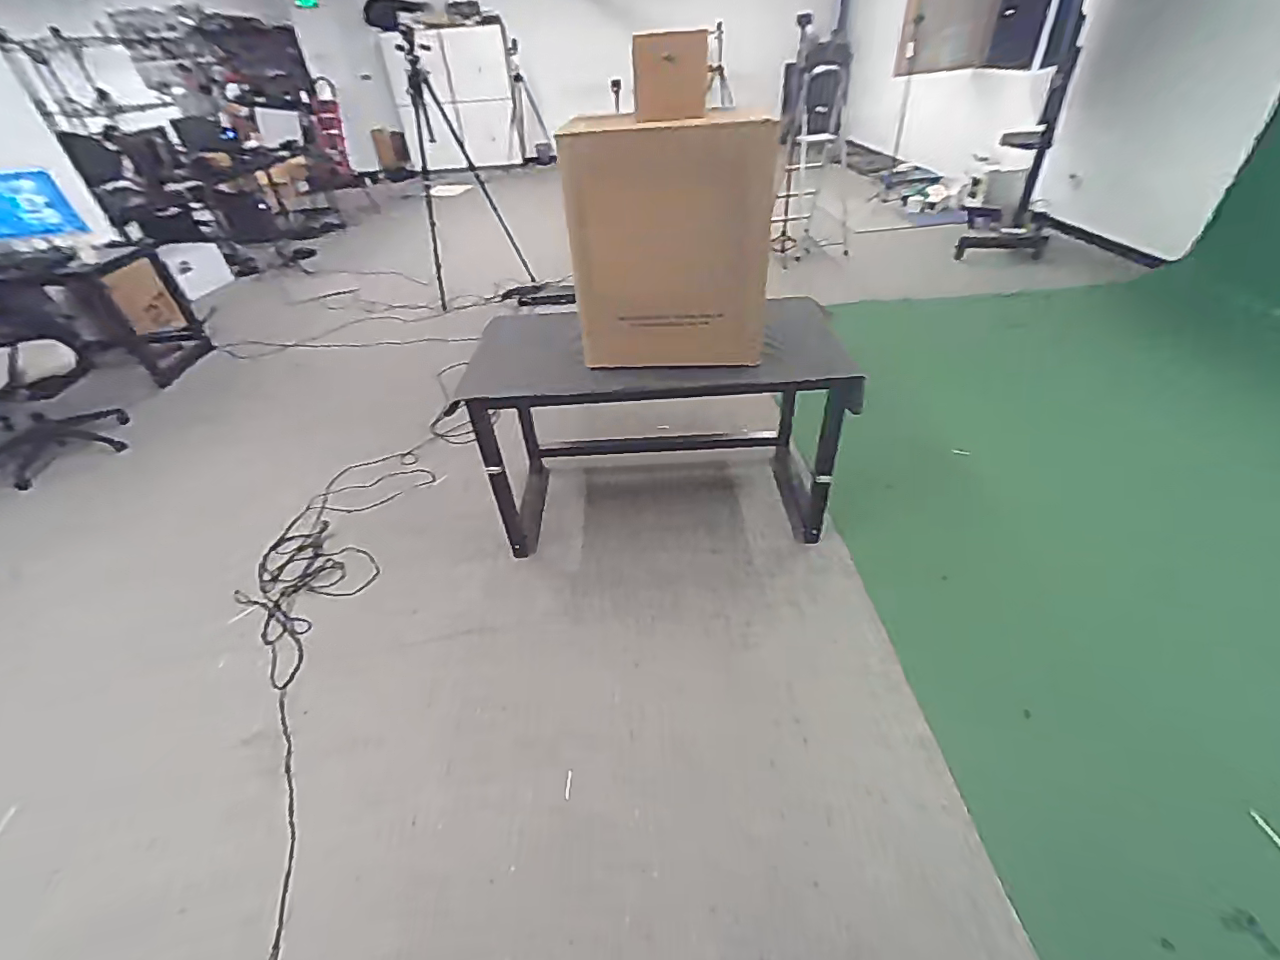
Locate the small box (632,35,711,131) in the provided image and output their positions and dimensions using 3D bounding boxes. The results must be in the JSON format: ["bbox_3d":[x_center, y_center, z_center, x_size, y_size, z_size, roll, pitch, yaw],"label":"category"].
[{"bbox_3d":[0.078,-0.959,1.308,0.179,0.176,0.168,0,41,5],"label":"small box"}]
